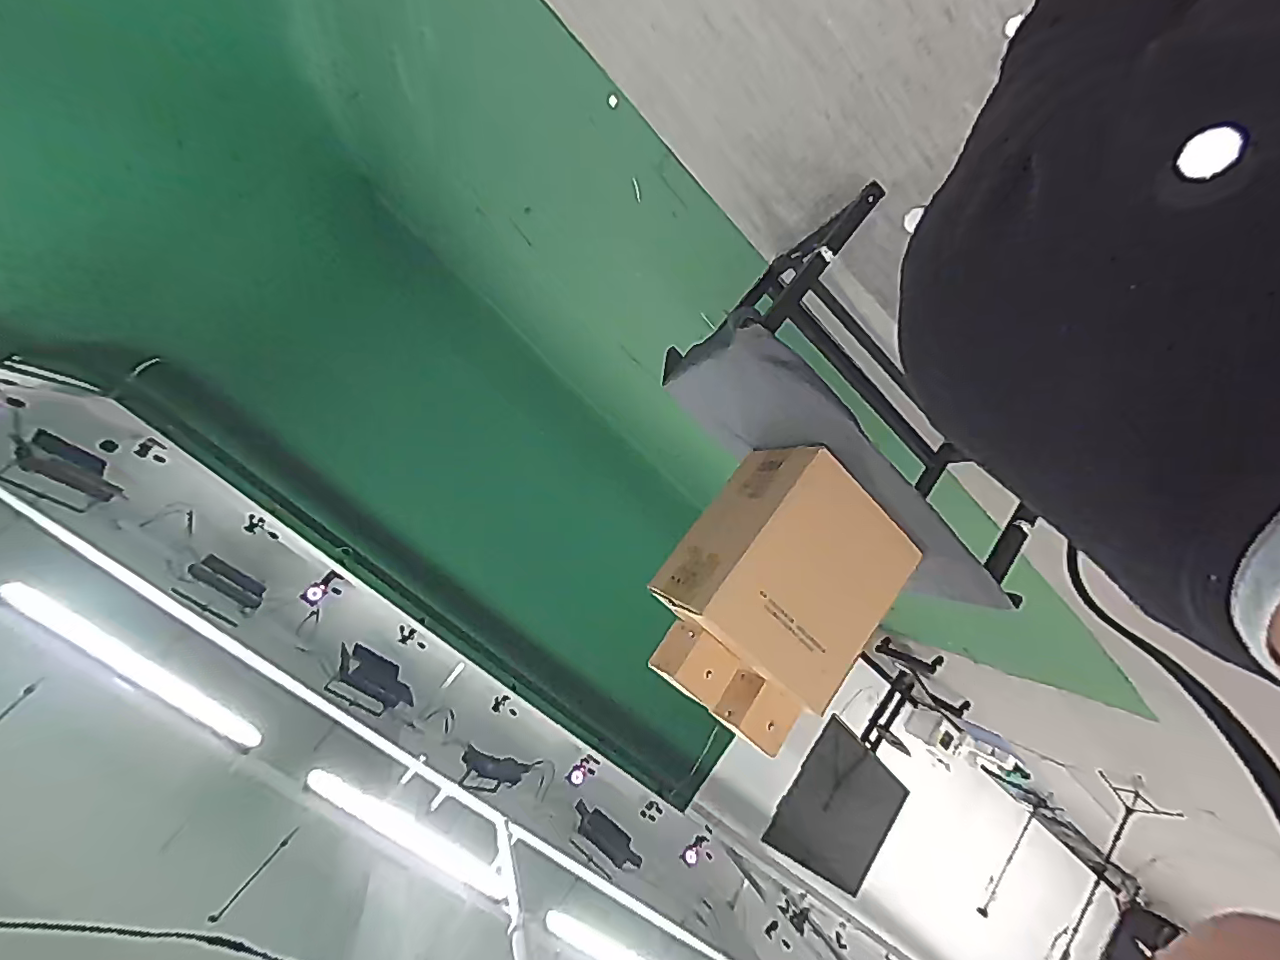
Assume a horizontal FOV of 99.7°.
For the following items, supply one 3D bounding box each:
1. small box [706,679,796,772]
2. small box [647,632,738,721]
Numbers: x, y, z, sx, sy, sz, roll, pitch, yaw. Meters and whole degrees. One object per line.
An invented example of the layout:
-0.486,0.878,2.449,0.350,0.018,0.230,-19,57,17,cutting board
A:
0.348,0.755,1.678,0.179,0.176,0.168,44,161,-15,small box
0.159,0.585,1.633,0.179,0.176,0.168,44,161,-16,small box
